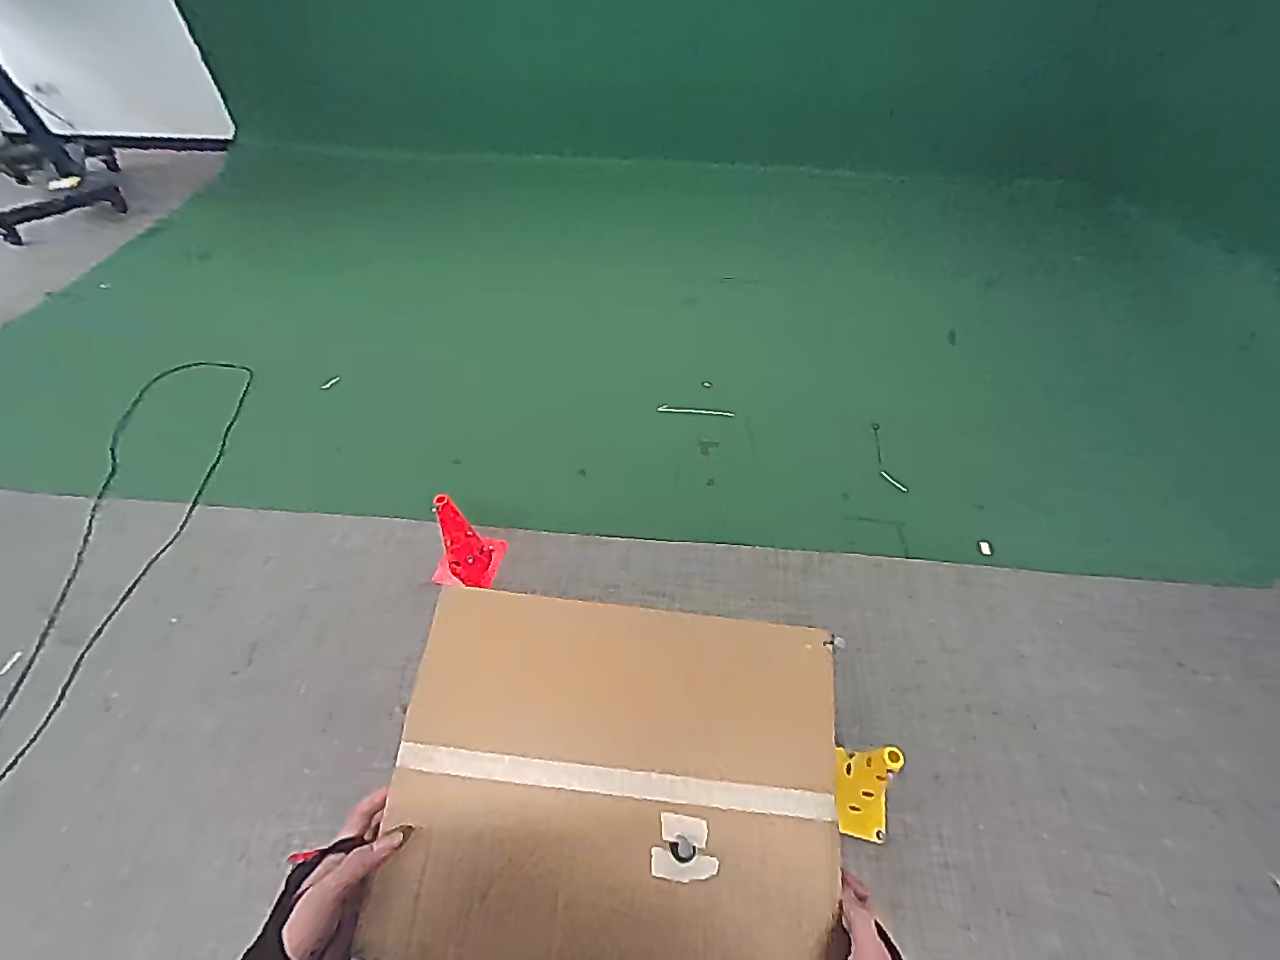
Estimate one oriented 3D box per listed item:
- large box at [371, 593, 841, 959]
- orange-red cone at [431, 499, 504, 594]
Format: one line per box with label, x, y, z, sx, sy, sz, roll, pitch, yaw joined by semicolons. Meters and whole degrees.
large box;-0.022;0.334;0.643;0.408;0.320;0.320;6;68;1
orange-red cone;-0.582;0.182;1.689;0.199;0.360;0.198;9;51;9
